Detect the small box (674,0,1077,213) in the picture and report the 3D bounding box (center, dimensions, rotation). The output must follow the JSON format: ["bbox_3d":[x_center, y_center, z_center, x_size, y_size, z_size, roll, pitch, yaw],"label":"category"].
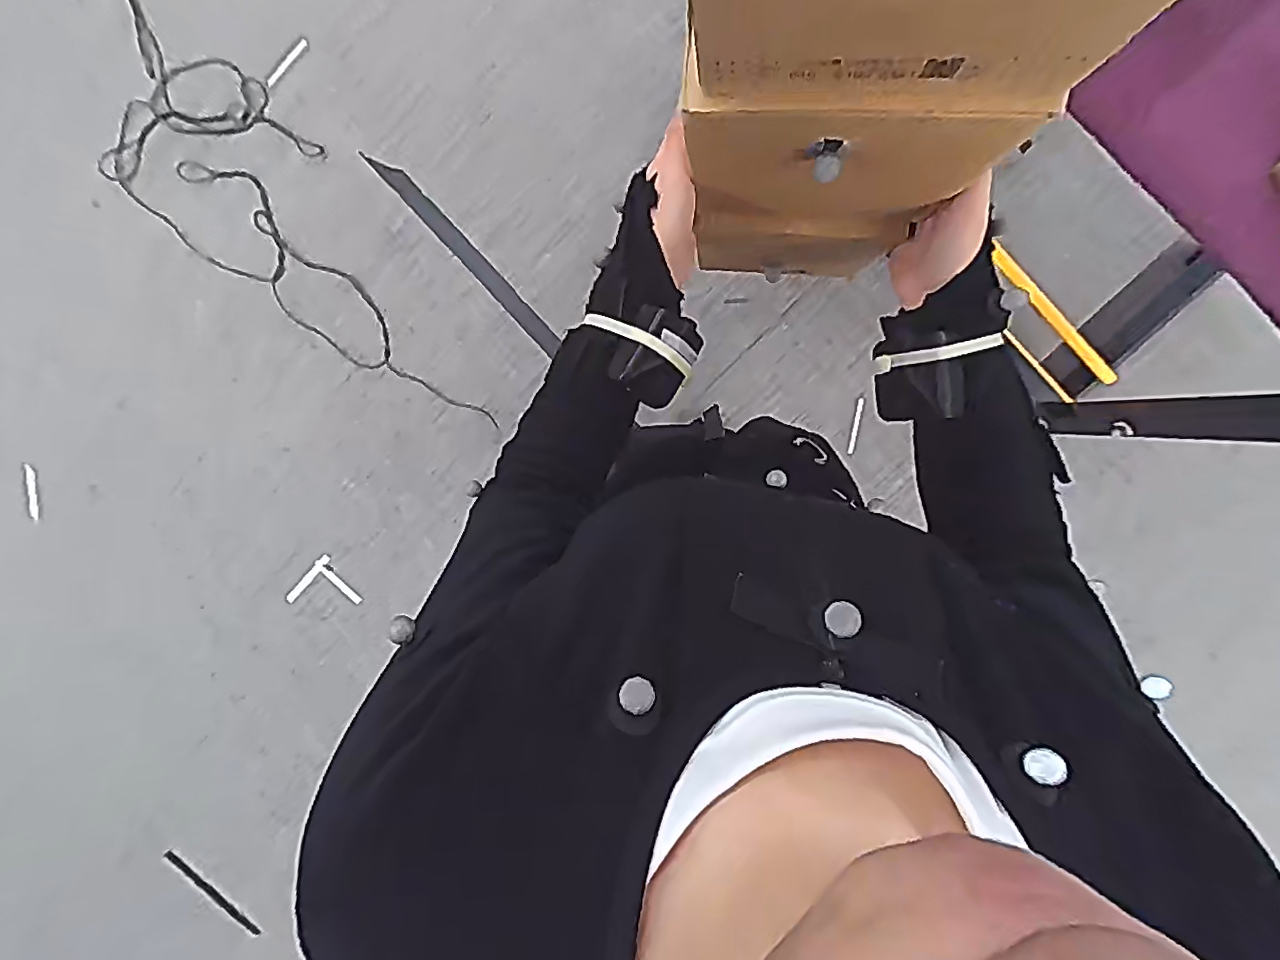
[{"bbox_3d":[0.120,-0.269,0.317,0.179,0.176,0.168,6,102,8],"label":"small box"}]

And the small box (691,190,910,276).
[{"bbox_3d":[0.137,-0.291,0.477,0.168,0.176,0.179,6,102,8],"label":"small box"}]
